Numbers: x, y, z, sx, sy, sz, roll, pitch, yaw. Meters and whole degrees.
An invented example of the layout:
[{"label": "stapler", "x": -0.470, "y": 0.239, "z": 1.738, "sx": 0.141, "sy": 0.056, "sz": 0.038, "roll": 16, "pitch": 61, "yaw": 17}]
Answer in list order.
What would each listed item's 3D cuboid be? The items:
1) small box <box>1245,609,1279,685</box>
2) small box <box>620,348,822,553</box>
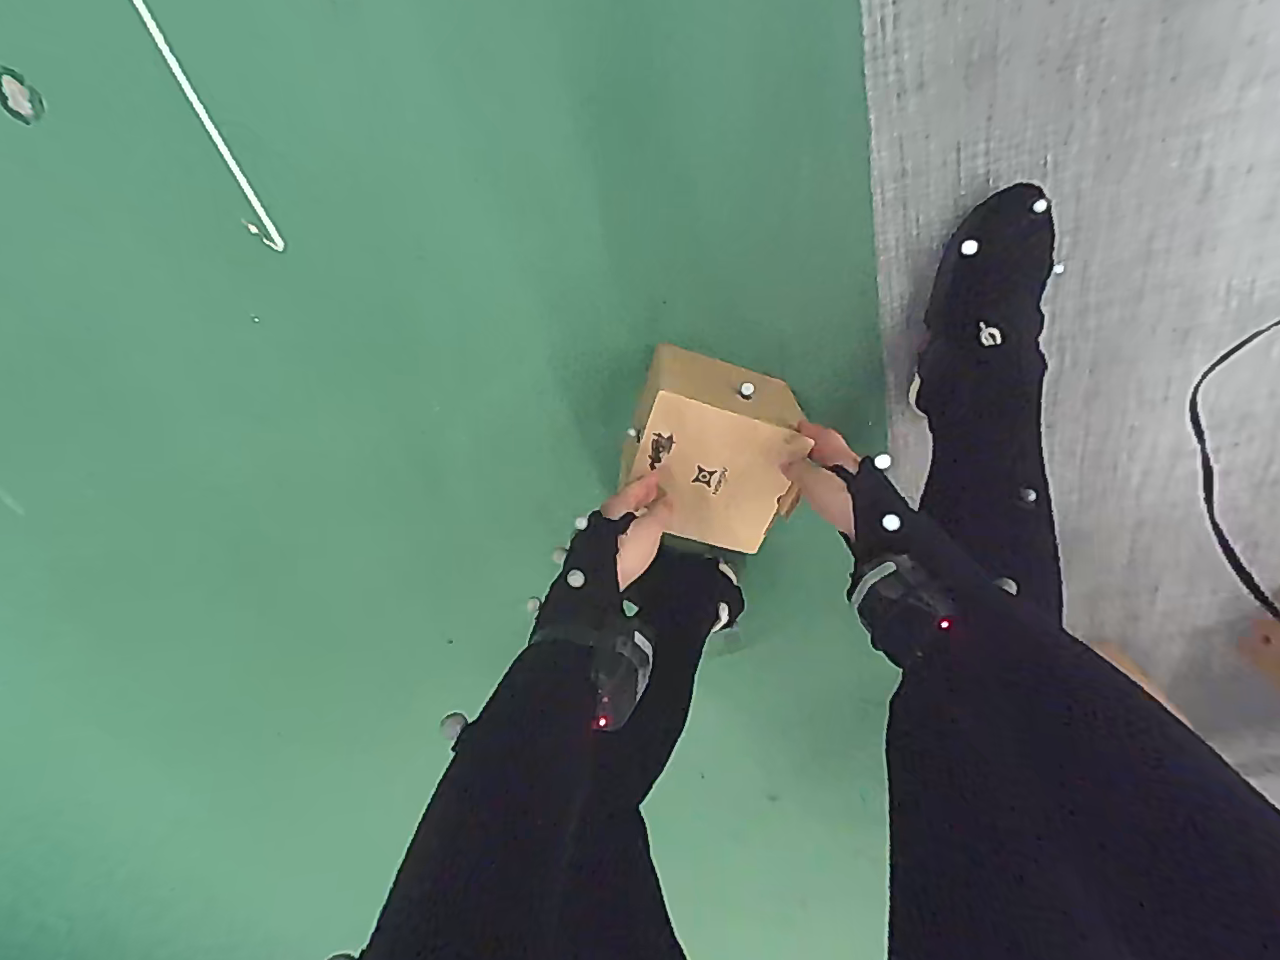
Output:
[{"label": "small box", "x": 1.107, "y": 0.270, "z": 0.817, "sx": 0.179, "sy": 0.176, "sz": 0.168, "roll": -3, "pitch": 120, "yaw": 0}, {"label": "small box", "x": 0.083, "y": -0.042, "z": 0.651, "sx": 0.179, "sy": 0.176, "sz": 0.168, "roll": 16, "pitch": 118, "yaw": -9}]
